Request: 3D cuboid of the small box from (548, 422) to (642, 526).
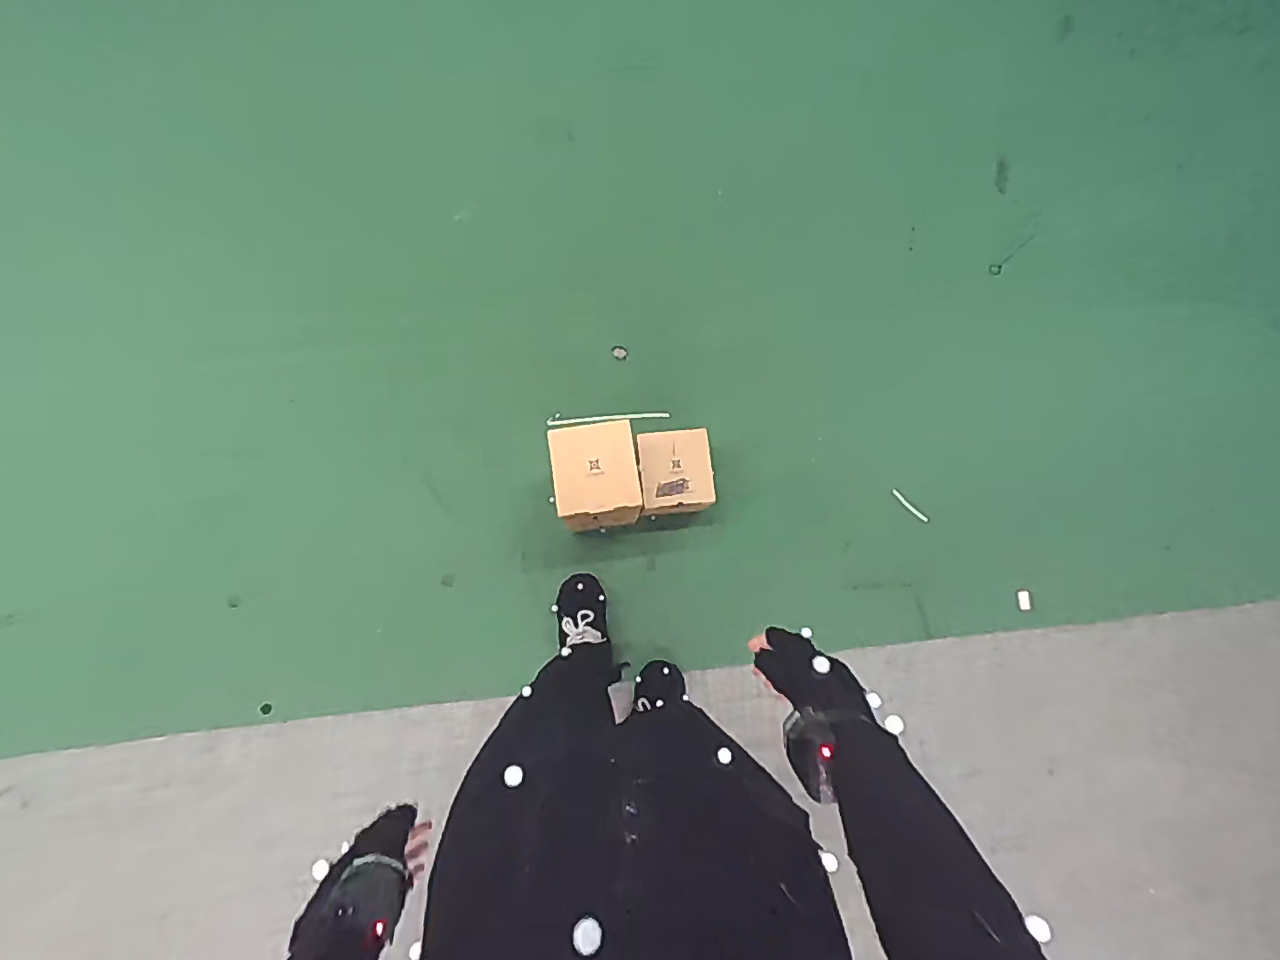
[{"bbox_3d":[-0.095,-0.007,1.127,0.168,0.176,0.179,-9,82,-6],"label":"small box"}]
